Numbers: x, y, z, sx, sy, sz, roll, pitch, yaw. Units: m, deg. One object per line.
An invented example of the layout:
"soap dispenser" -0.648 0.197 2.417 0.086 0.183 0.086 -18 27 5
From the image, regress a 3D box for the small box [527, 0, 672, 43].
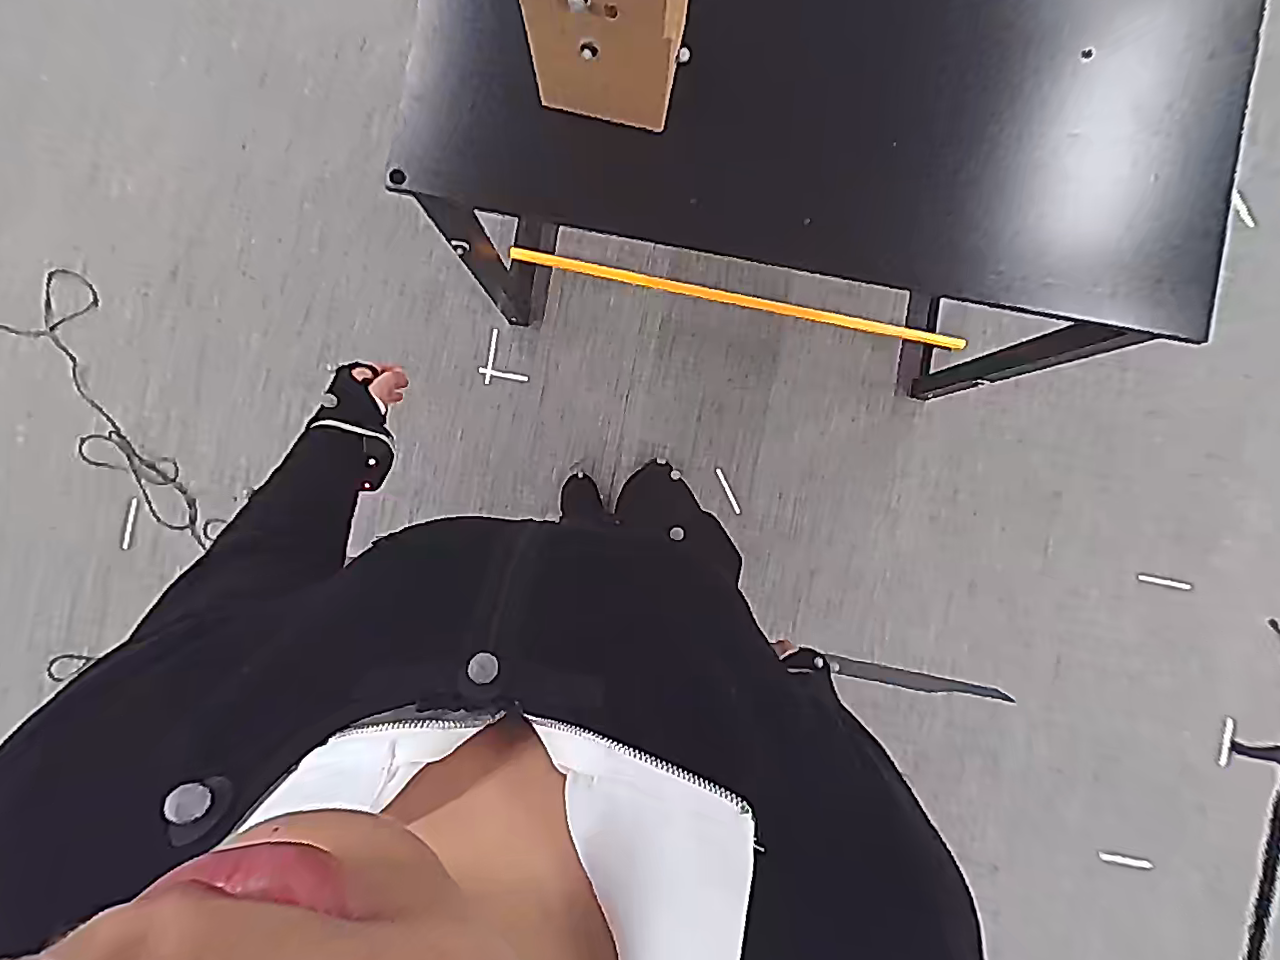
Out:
"small box" -0.036 -0.592 0.530 0.168 0.176 0.179 11 91 0

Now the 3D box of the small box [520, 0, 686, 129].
"small box" -0.037 -0.592 0.692 0.179 0.176 0.168 12 90 -2
